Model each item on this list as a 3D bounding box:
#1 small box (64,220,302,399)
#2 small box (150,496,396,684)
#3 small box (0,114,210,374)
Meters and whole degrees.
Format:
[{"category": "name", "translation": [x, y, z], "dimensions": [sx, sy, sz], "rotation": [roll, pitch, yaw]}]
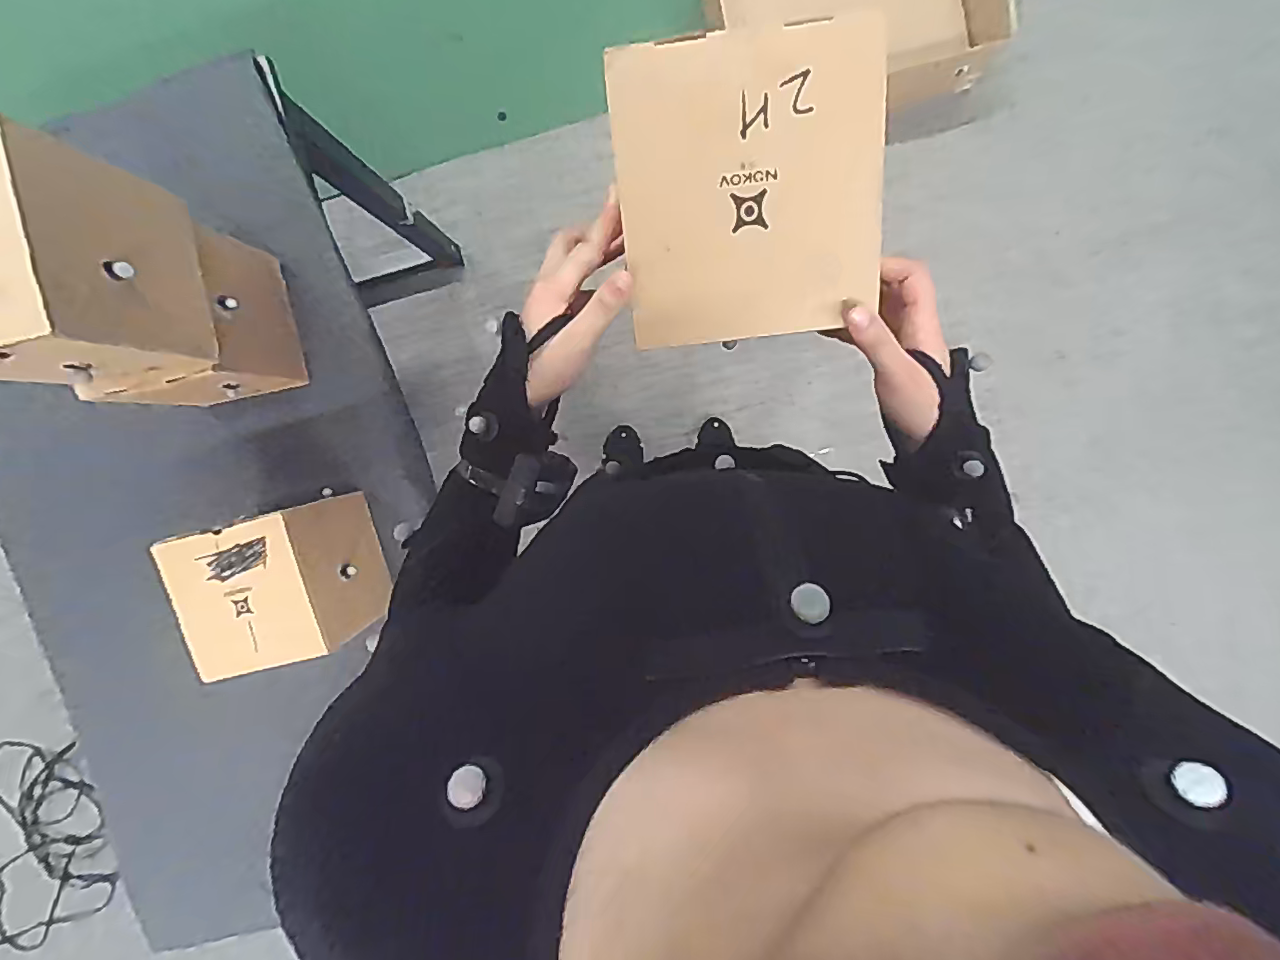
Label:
[{"category": "small box", "translation": [-0.550, -0.197, 0.654], "dimensions": [0.168, 0.176, 0.179], "rotation": [-11, 95, 3]}, {"category": "small box", "translation": [-0.445, 0.124, 0.686], "dimensions": [0.168, 0.176, 0.179], "rotation": [-14, 97, 4]}, {"category": "small box", "translation": [-0.542, -0.194, 0.489], "dimensions": [0.168, 0.176, 0.179], "rotation": [-8, 97, 3]}]
